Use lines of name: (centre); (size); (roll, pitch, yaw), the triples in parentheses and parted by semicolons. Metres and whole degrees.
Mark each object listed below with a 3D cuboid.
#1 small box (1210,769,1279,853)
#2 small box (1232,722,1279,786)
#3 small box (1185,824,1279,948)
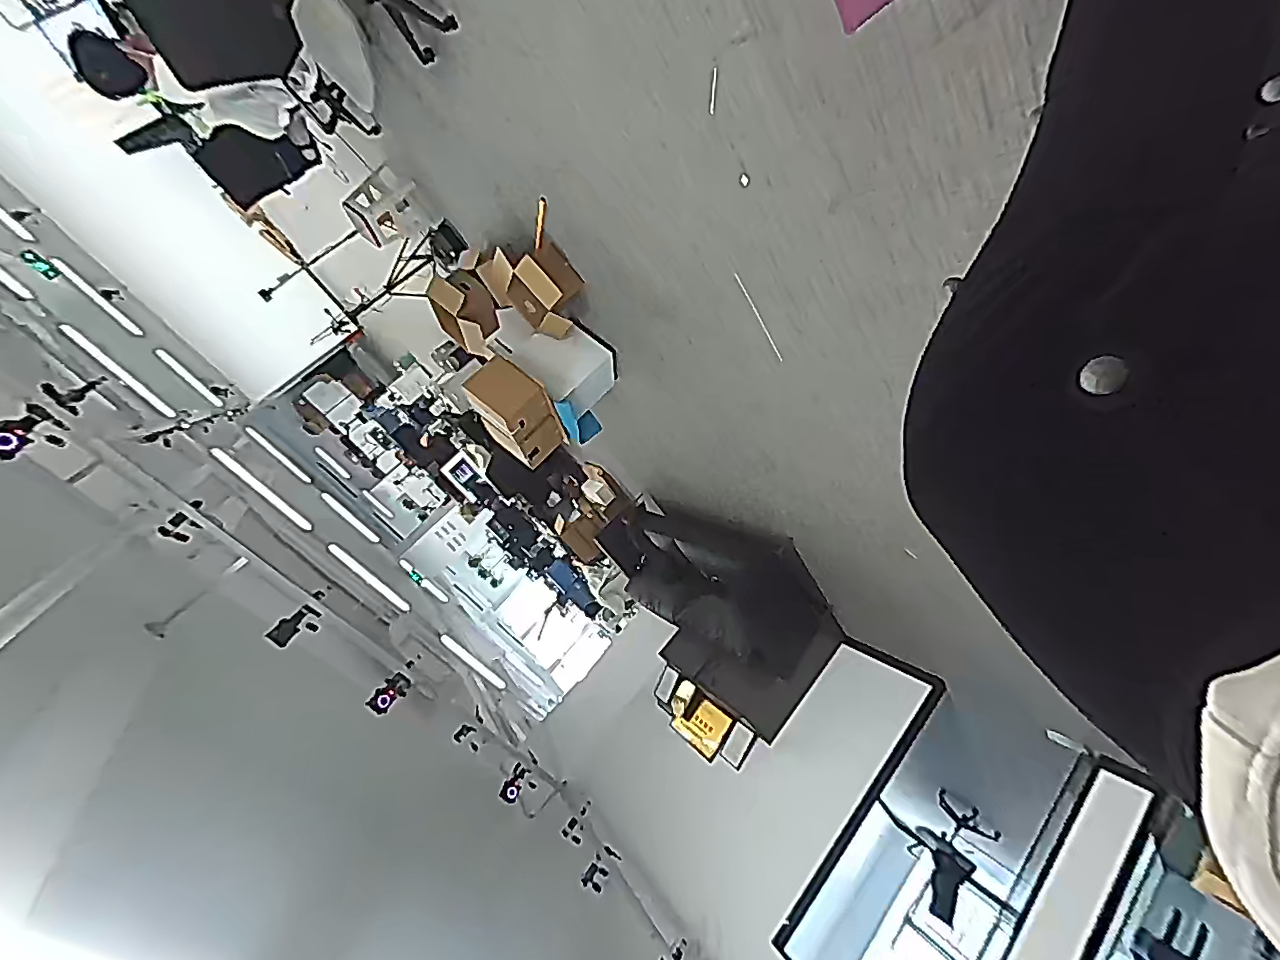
small box: (1.649, 0.912, 1.424); (0.168, 0.176, 0.179); (18, 147, 56)
small box: (1.761, 0.806, 1.476); (0.168, 0.176, 0.179); (17, 146, 55)
small box: (1.542, 1.025, 1.372); (0.168, 0.176, 0.179); (25, 152, 47)
